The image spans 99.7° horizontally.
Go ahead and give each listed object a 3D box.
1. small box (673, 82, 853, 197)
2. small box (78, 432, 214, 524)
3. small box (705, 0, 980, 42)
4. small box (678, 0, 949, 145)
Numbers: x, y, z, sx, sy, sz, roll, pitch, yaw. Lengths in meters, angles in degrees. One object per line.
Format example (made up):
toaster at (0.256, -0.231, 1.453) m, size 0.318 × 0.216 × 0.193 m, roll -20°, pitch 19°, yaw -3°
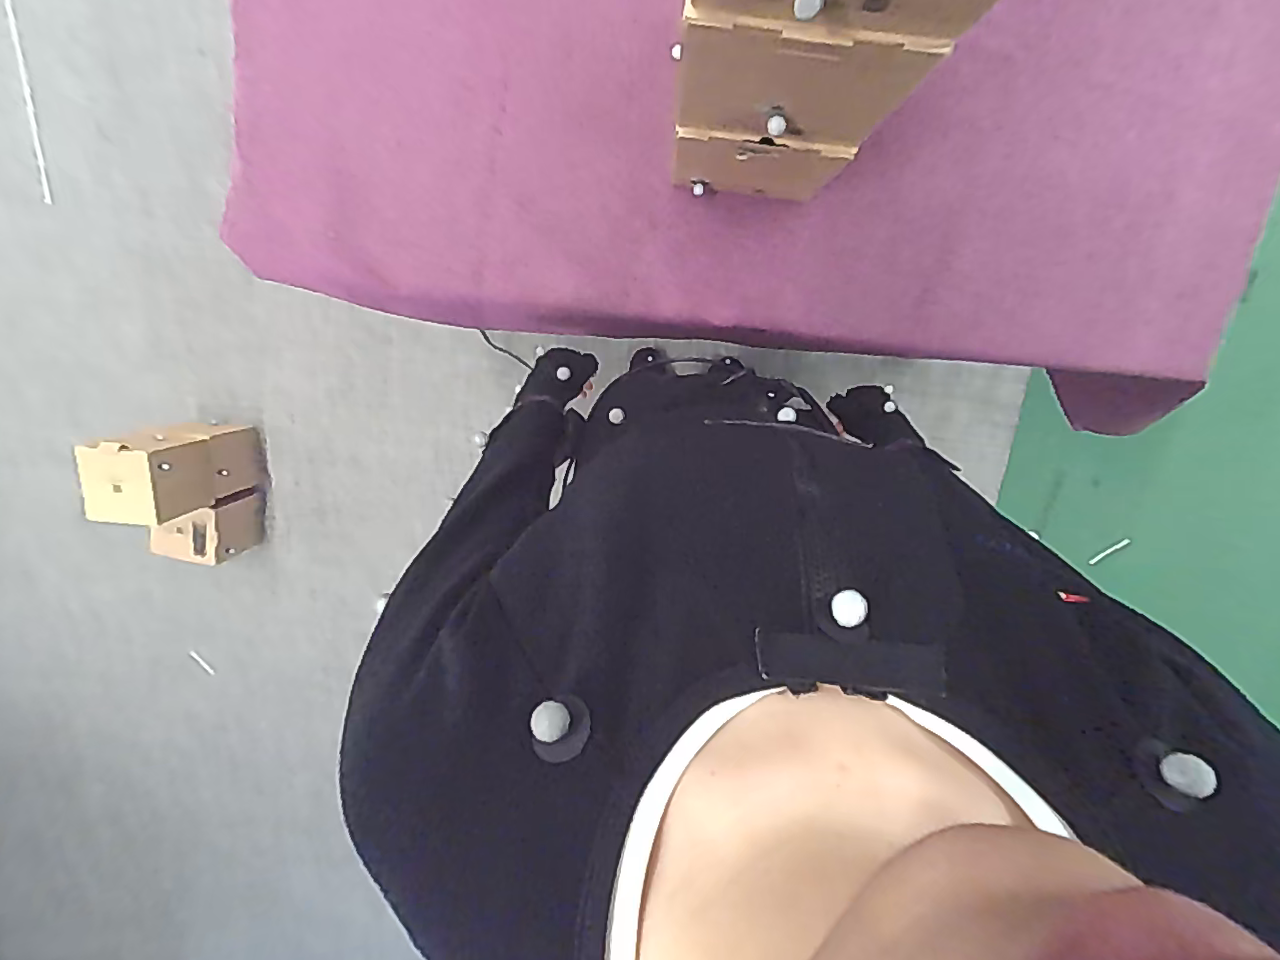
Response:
small box at (0.127, -0.407, 0.549) m, size 0.168 × 0.176 × 0.179 m, roll 8°, pitch 104°, yaw 0°
small box at (-1.157, -0.009, 1.283) m, size 0.168 × 0.176 × 0.179 m, roll 5°, pitch 104°, yaw 1°
small box at (0.114, -0.339, 0.229) m, size 0.168 × 0.176 × 0.179 m, roll 7°, pitch 104°, yaw 1°
small box at (0.120, -0.375, 0.388) m, size 0.168 × 0.176 × 0.179 m, roll 8°, pitch 105°, yaw 1°
